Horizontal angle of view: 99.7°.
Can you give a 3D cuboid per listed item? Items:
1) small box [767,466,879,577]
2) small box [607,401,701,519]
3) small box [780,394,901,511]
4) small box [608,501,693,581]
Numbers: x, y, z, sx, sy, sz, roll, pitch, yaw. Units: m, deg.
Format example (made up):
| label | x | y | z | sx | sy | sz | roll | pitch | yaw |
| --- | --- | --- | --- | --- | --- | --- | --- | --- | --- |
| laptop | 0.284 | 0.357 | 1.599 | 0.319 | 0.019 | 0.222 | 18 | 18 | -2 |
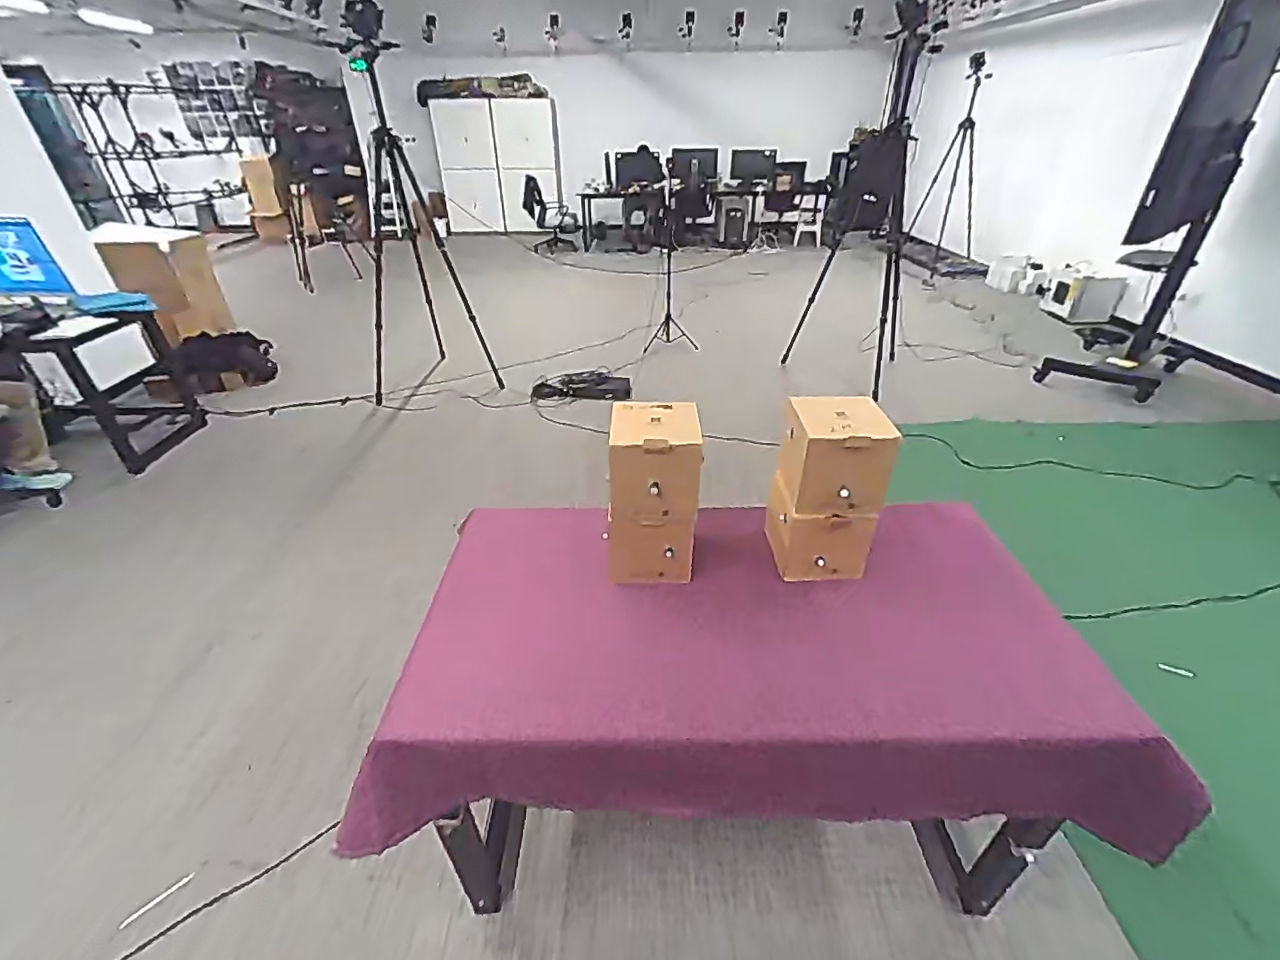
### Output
| label | x | y | z | sx | sy | sz | roll | pitch | yaw |
| --- | --- | --- | --- | --- | --- | --- | --- | --- | --- |
| small box | 0.374 | 0.085 | 1.141 | 0.168 | 0.176 | 0.179 | -2 | 34 | -1 |
| small box | 0.028 | -0.038 | 1.044 | 0.168 | 0.176 | 0.179 | 0 | 34 | 1 |
| small box | 0.377 | -0.056 | 1.055 | 0.168 | 0.176 | 0.179 | -1 | 34 | 2 |
| small box | 0.024 | 0.098 | 1.137 | 0.168 | 0.176 | 0.179 | 0 | 33 | 0 |
